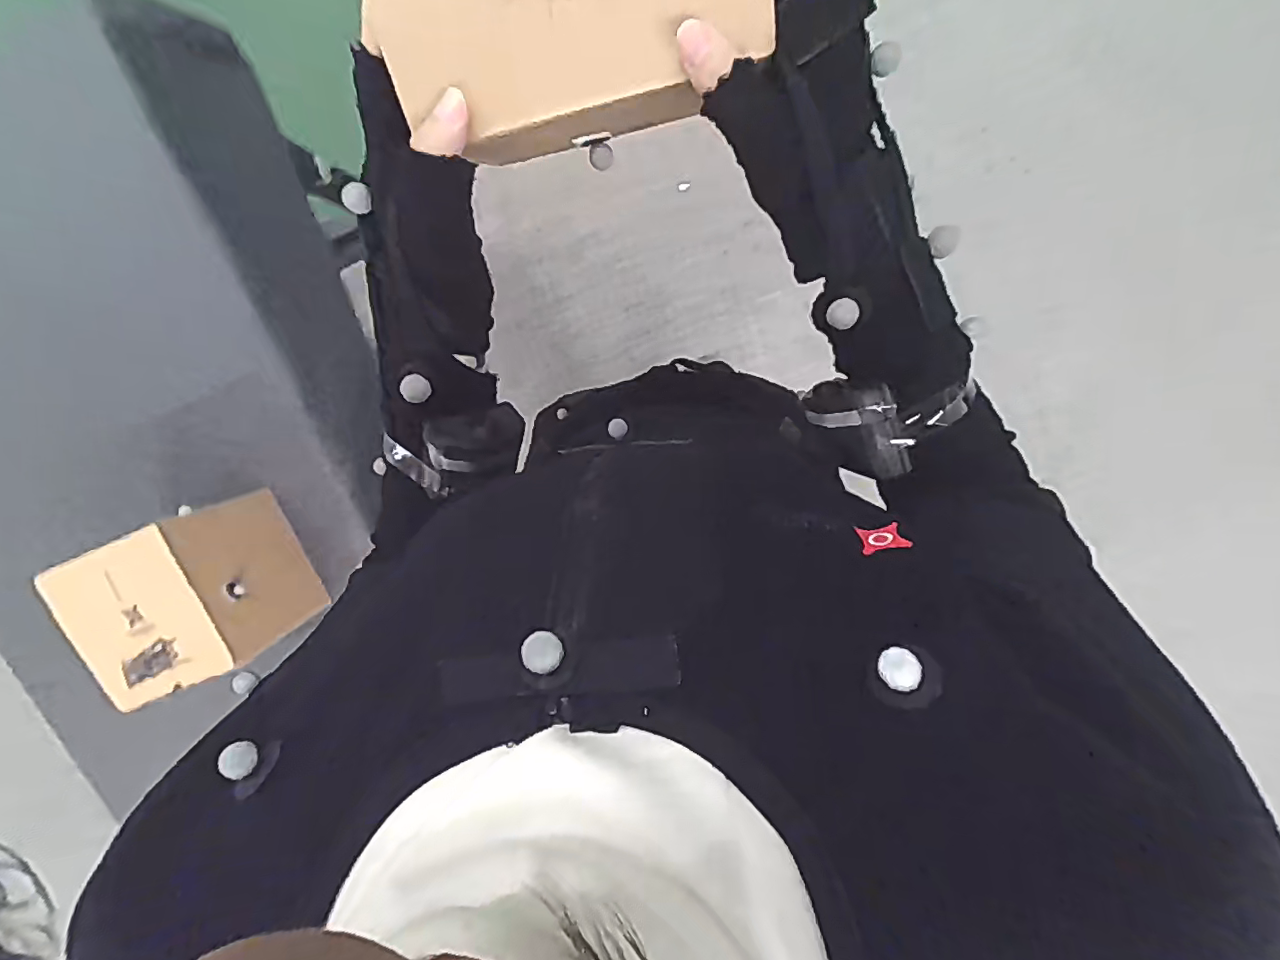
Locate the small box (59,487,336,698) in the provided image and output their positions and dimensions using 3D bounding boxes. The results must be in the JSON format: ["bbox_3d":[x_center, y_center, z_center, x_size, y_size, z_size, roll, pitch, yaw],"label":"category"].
[{"bbox_3d":[-0.526,0.129,0.673,0.168,0.176,0.179,-22,100,8],"label":"small box"}]

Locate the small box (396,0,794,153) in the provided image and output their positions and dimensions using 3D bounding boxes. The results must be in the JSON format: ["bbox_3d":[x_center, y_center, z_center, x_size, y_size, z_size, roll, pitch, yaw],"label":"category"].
[{"bbox_3d":[-0.028,-0.285,0.272,0.168,0.176,0.179,-10,118,8],"label":"small box"}]
